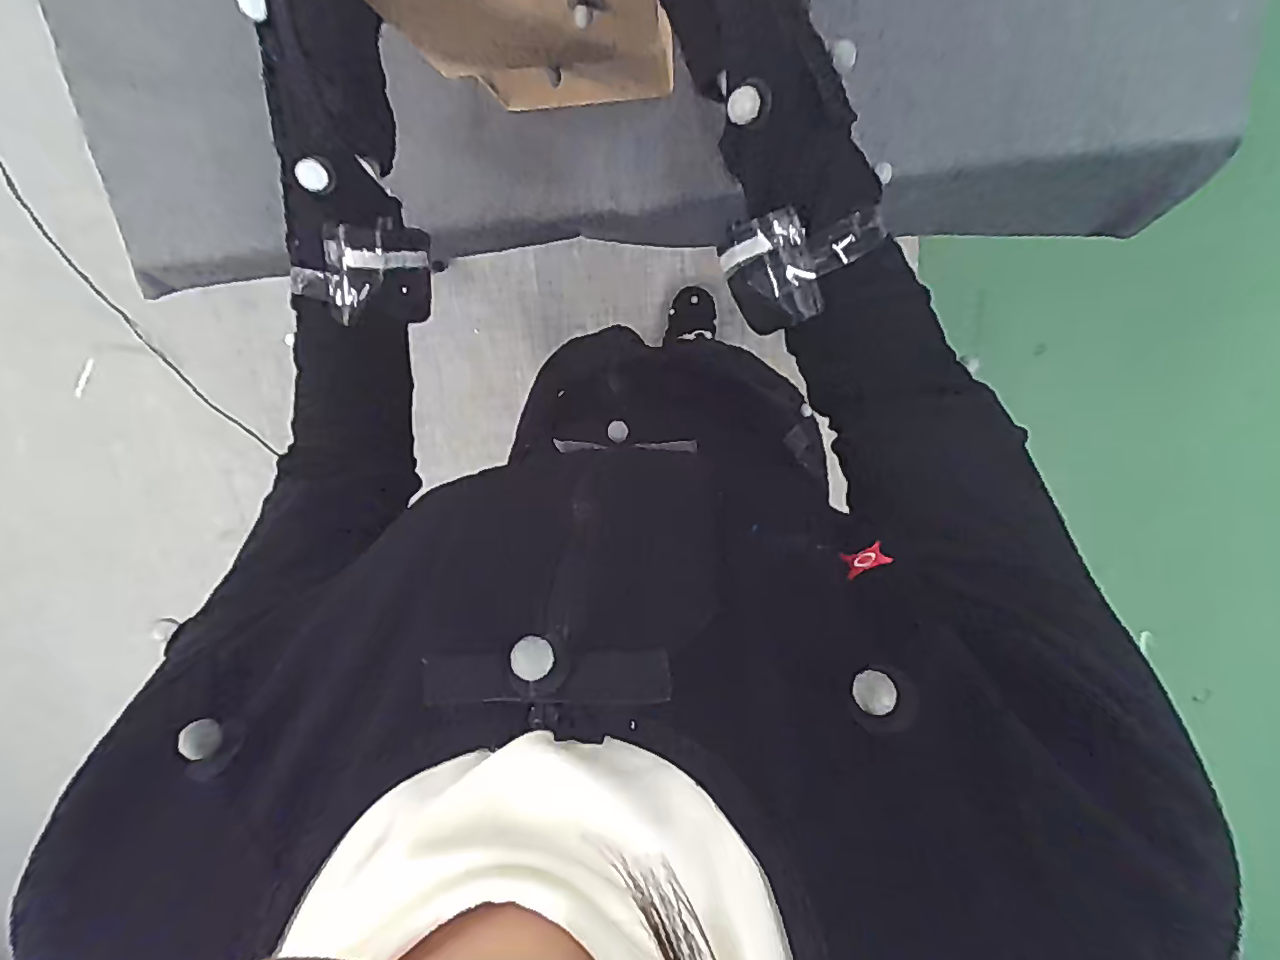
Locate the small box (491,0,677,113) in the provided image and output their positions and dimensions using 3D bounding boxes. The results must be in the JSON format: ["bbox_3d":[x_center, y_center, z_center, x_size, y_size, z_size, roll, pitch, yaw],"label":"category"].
[{"bbox_3d":[-0.063,-0.450,0.472,0.179,0.176,0.168,-5,106,7],"label":"small box"}]

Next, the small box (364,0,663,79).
[{"bbox_3d":[-0.078,-0.367,0.309,0.179,0.176,0.168,-5,106,7],"label":"small box"}]

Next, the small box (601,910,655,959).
[{"bbox_3d":[-0.039,1.655,1.900,0.168,0.176,0.179,-4,109,7],"label":"small box"}]
